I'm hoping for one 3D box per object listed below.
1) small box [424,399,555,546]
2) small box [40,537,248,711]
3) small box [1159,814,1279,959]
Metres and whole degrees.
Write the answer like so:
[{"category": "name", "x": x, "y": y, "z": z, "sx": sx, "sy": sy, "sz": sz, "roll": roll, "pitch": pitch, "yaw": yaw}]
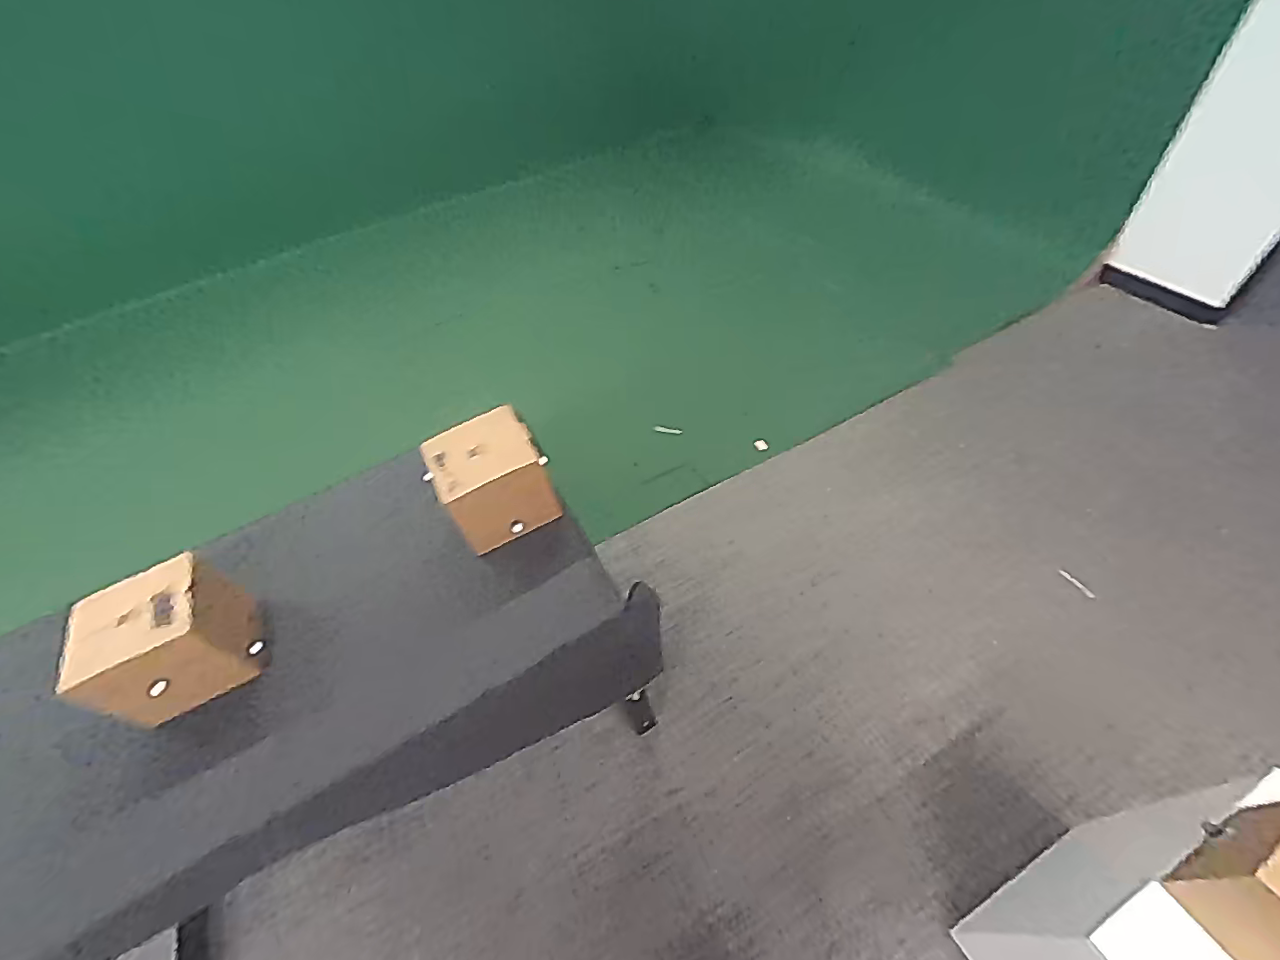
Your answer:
[{"category": "small box", "x": -0.266, "y": -0.012, "z": 0.992, "sx": 0.179, "sy": 0.176, "sz": 0.168, "roll": -24, "pitch": 52, "yaw": -14}, {"category": "small box", "x": -0.751, "y": 0.227, "z": 0.847, "sx": 0.179, "sy": 0.176, "sz": 0.168, "roll": -25, "pitch": 52, "yaw": -13}, {"category": "small box", "x": 0.776, "y": 0.507, "z": 0.616, "sx": 0.168, "sy": 0.176, "sz": 0.179, "roll": -26, "pitch": 52, "yaw": -16}]
